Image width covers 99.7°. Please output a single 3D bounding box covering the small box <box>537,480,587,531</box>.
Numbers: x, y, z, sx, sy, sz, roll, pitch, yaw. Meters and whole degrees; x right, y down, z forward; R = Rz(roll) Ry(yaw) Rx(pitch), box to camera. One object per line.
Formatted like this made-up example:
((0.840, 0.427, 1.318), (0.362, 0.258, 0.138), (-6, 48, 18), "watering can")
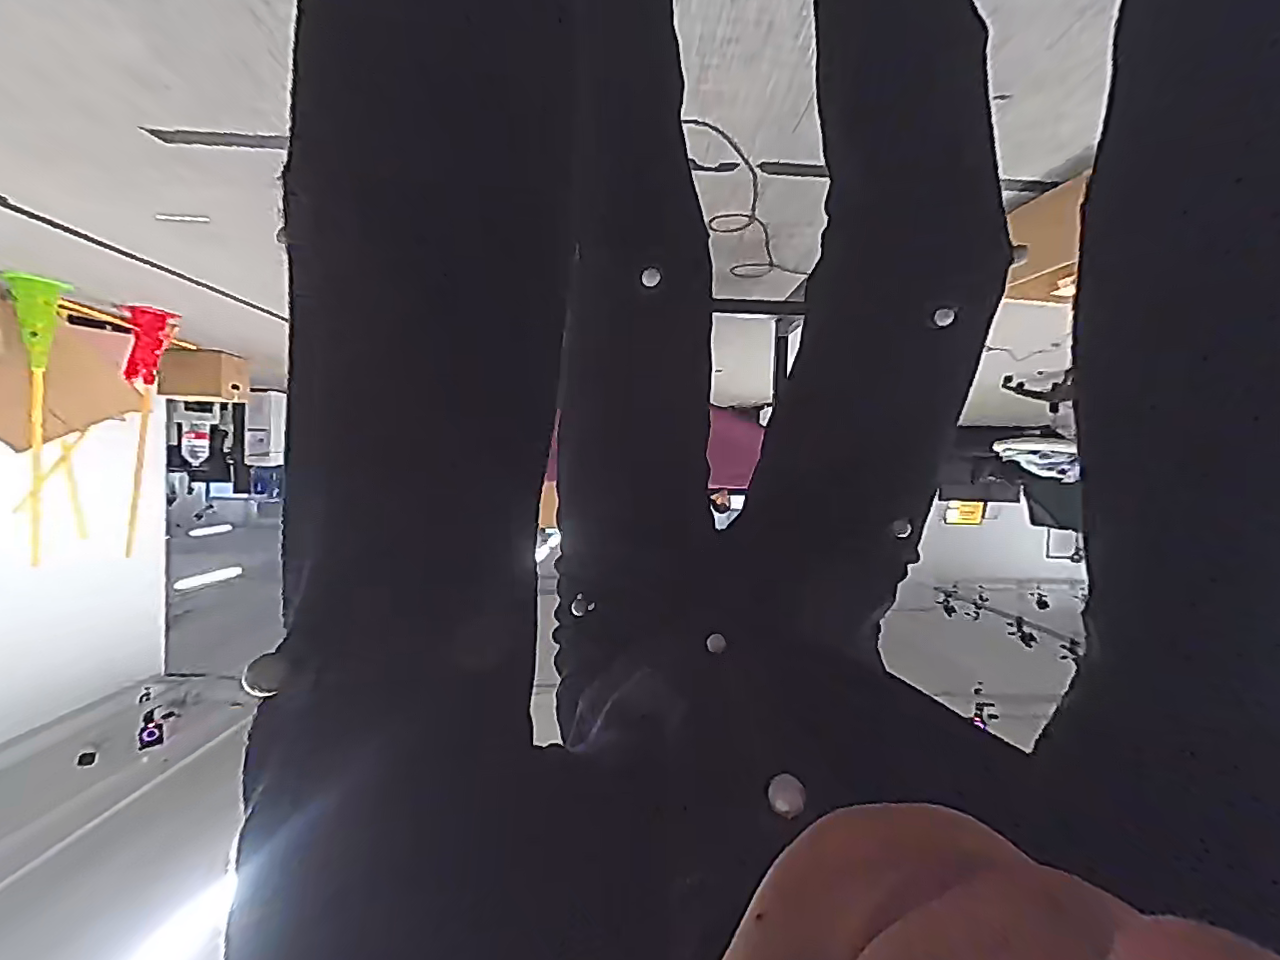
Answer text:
((-0.283, 0.091, 1.984), (0.179, 0.176, 0.168), (1, -178, -4), "small box")
